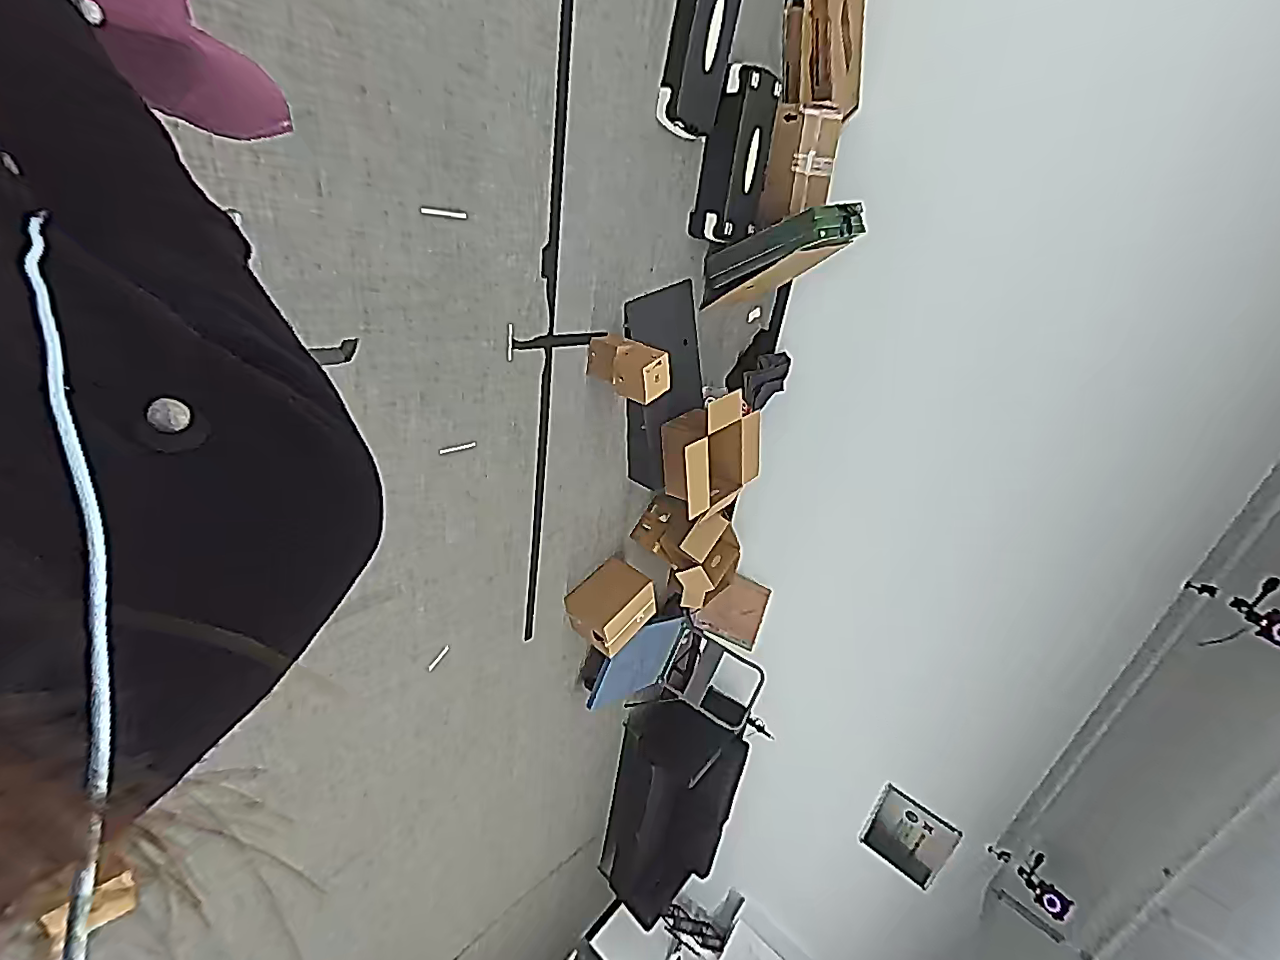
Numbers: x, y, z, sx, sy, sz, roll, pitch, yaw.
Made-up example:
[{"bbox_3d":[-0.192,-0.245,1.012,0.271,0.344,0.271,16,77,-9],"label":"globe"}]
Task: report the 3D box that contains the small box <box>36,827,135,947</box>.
[{"bbox_3d":[-1.598,1.162,1.557,0.179,0.176,0.168,-14,124,-52],"label":"small box"}]
